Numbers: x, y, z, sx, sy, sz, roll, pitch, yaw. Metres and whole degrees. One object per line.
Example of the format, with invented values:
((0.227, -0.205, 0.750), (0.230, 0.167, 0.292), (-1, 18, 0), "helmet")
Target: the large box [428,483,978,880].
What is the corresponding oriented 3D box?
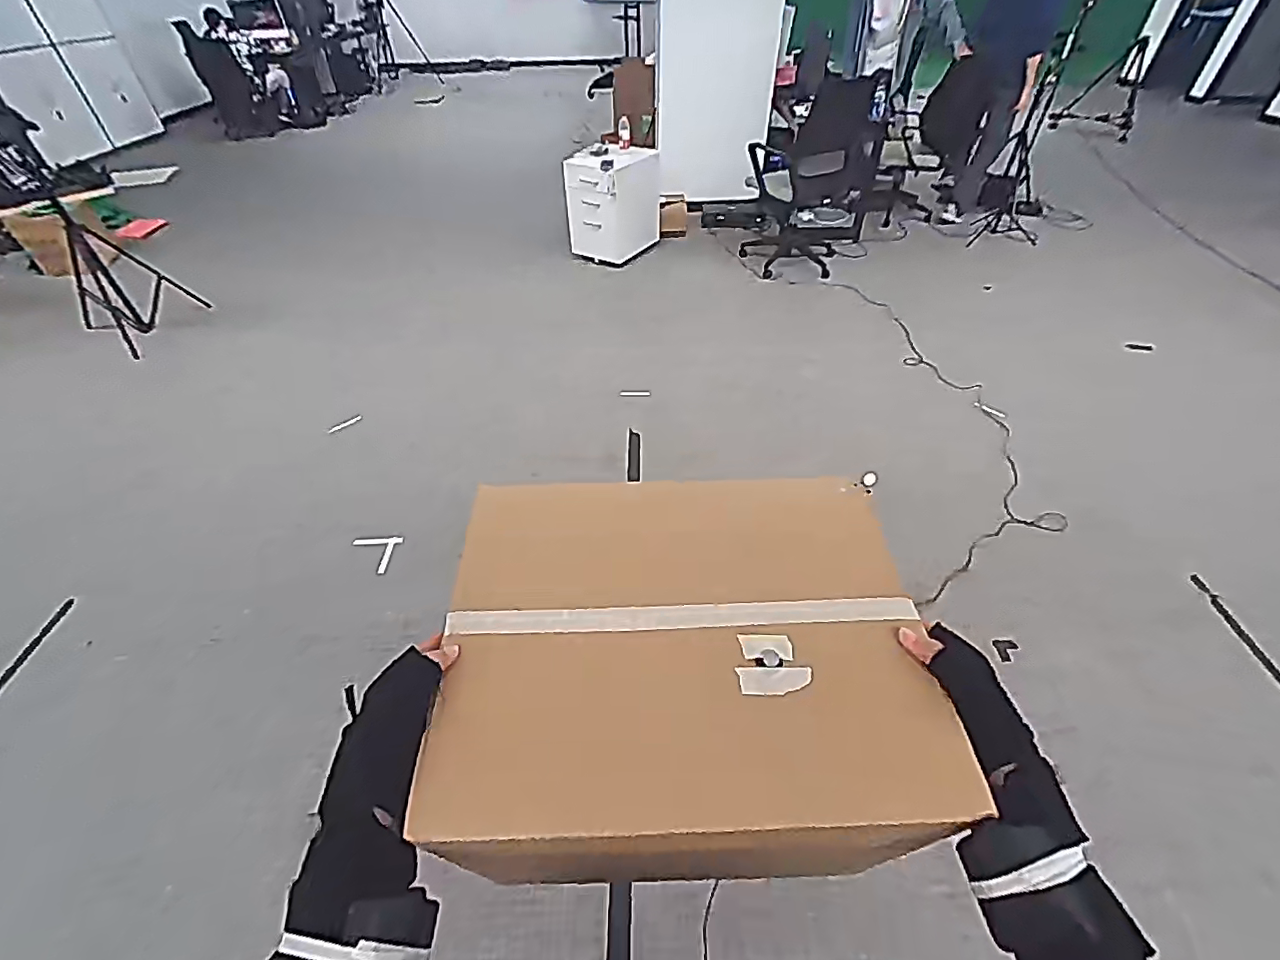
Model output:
((0.039, 0.222, 0.589), (0.408, 0.320, 0.320), (-1, 50, -2), "large box")
